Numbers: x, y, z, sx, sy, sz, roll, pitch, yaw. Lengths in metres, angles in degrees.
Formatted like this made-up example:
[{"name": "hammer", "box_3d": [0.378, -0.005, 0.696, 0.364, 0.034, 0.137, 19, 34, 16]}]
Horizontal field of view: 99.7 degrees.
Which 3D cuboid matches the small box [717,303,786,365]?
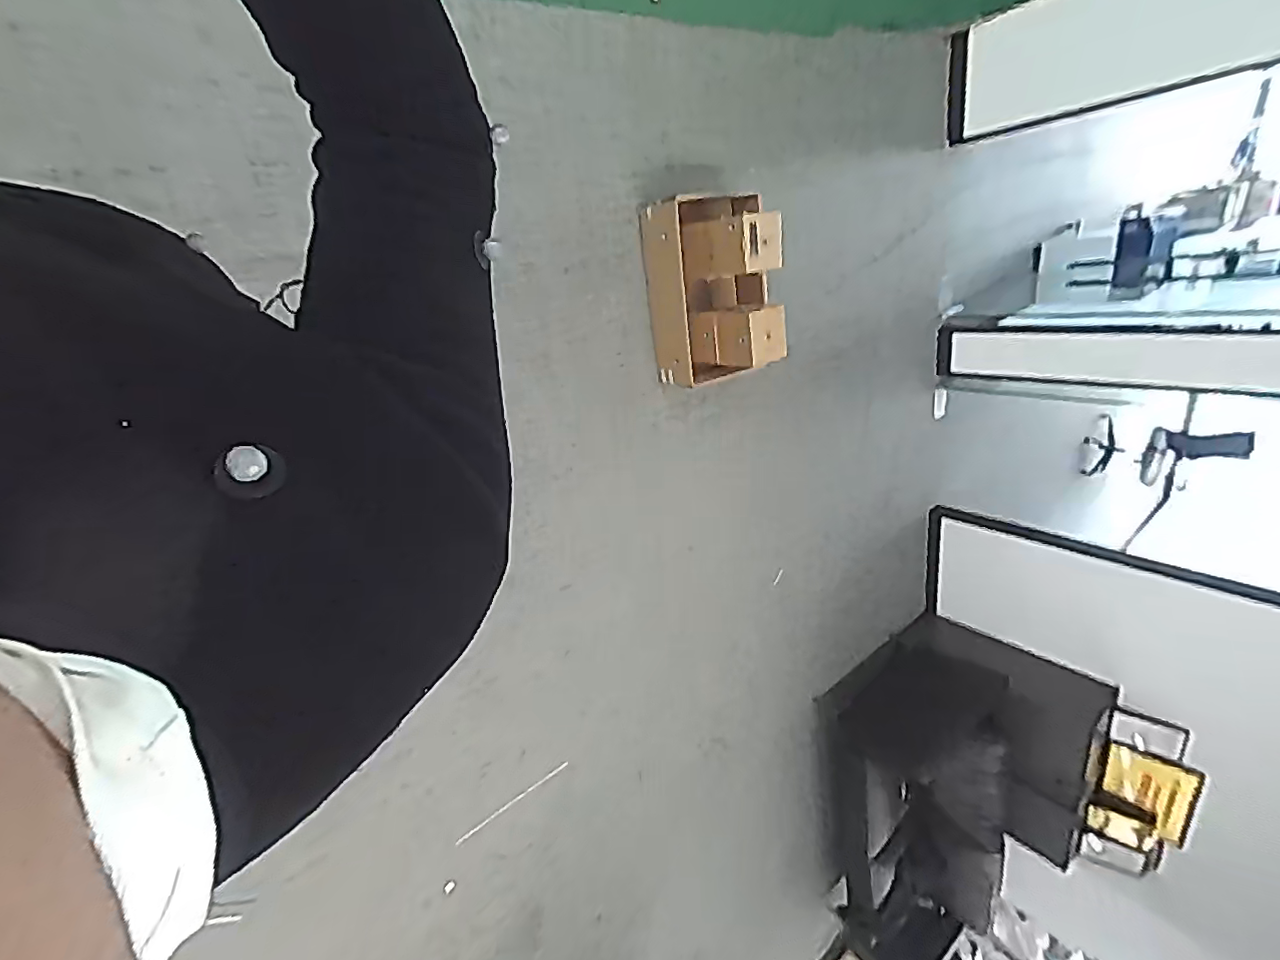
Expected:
[{"name": "small box", "box_3d": [0.378, -0.500, 1.849, 0.168, 0.176, 0.179, -23, 116, -29]}]
